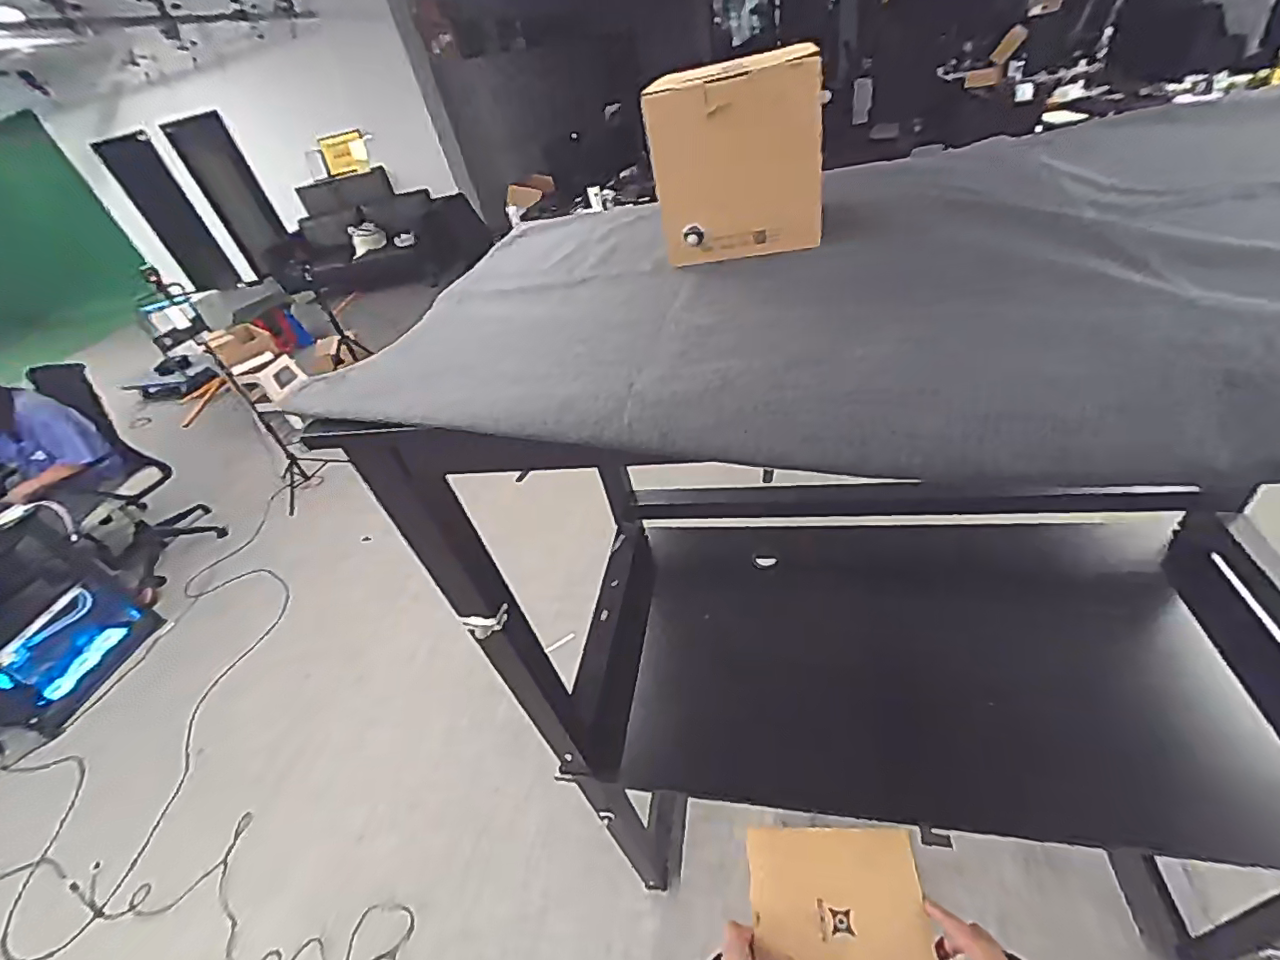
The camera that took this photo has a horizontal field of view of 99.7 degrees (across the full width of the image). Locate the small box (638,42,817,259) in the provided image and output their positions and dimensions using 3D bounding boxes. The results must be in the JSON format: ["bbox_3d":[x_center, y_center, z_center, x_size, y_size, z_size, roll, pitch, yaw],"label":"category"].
[{"bbox_3d":[0.108,-0.360,0.606,0.168,0.176,0.179,-2,39,16],"label":"small box"}]

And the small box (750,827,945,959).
[{"bbox_3d":[0.223,0.498,0.592,0.179,0.176,0.168,-9,41,14],"label":"small box"}]
